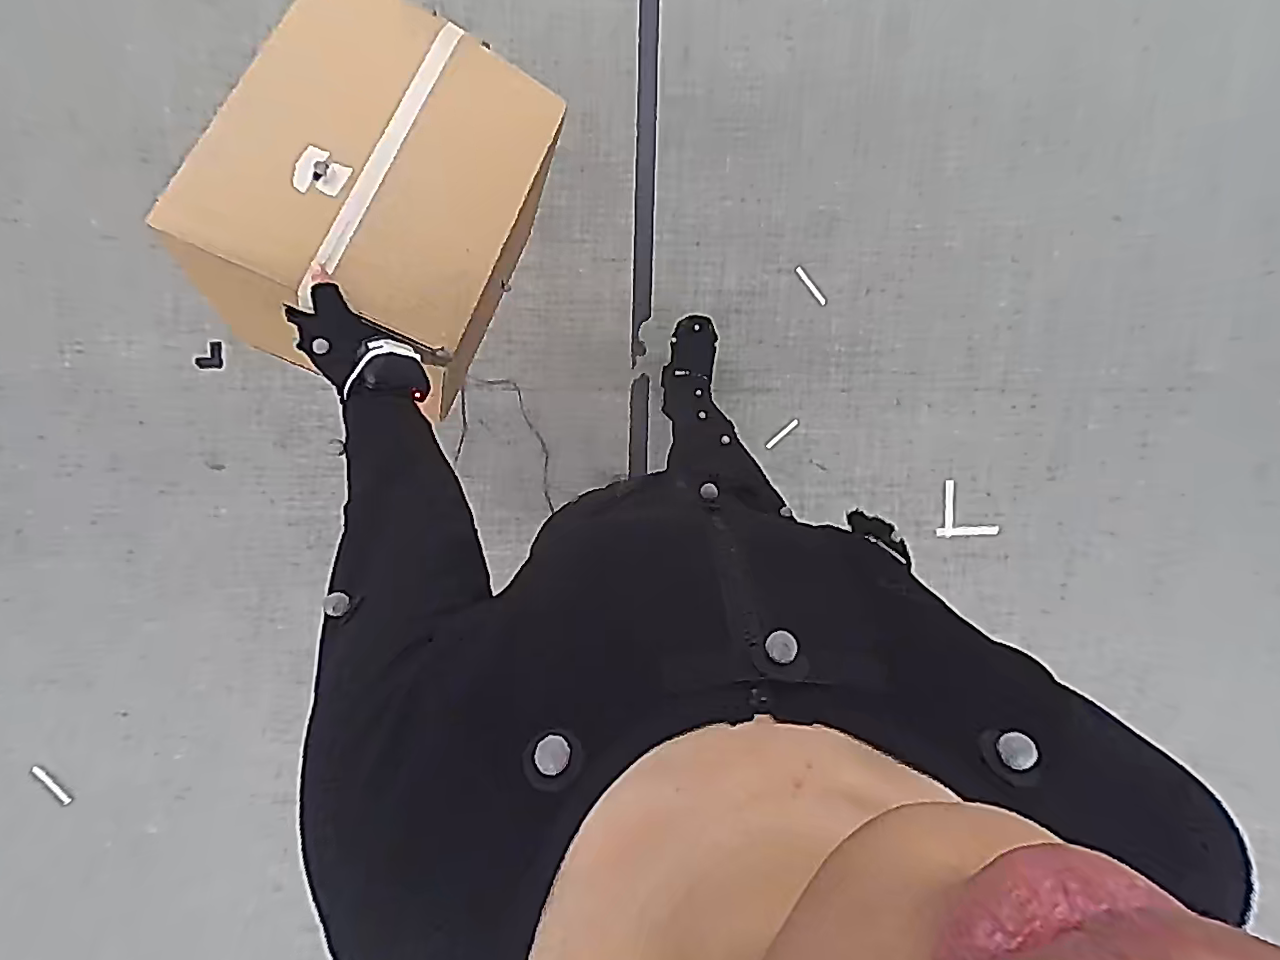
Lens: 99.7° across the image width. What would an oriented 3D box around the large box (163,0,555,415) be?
[{"bbox_3d":[-0.359,-0.363,0.786,0.320,0.320,0.408,22,75,-17],"label":"large box"}]
